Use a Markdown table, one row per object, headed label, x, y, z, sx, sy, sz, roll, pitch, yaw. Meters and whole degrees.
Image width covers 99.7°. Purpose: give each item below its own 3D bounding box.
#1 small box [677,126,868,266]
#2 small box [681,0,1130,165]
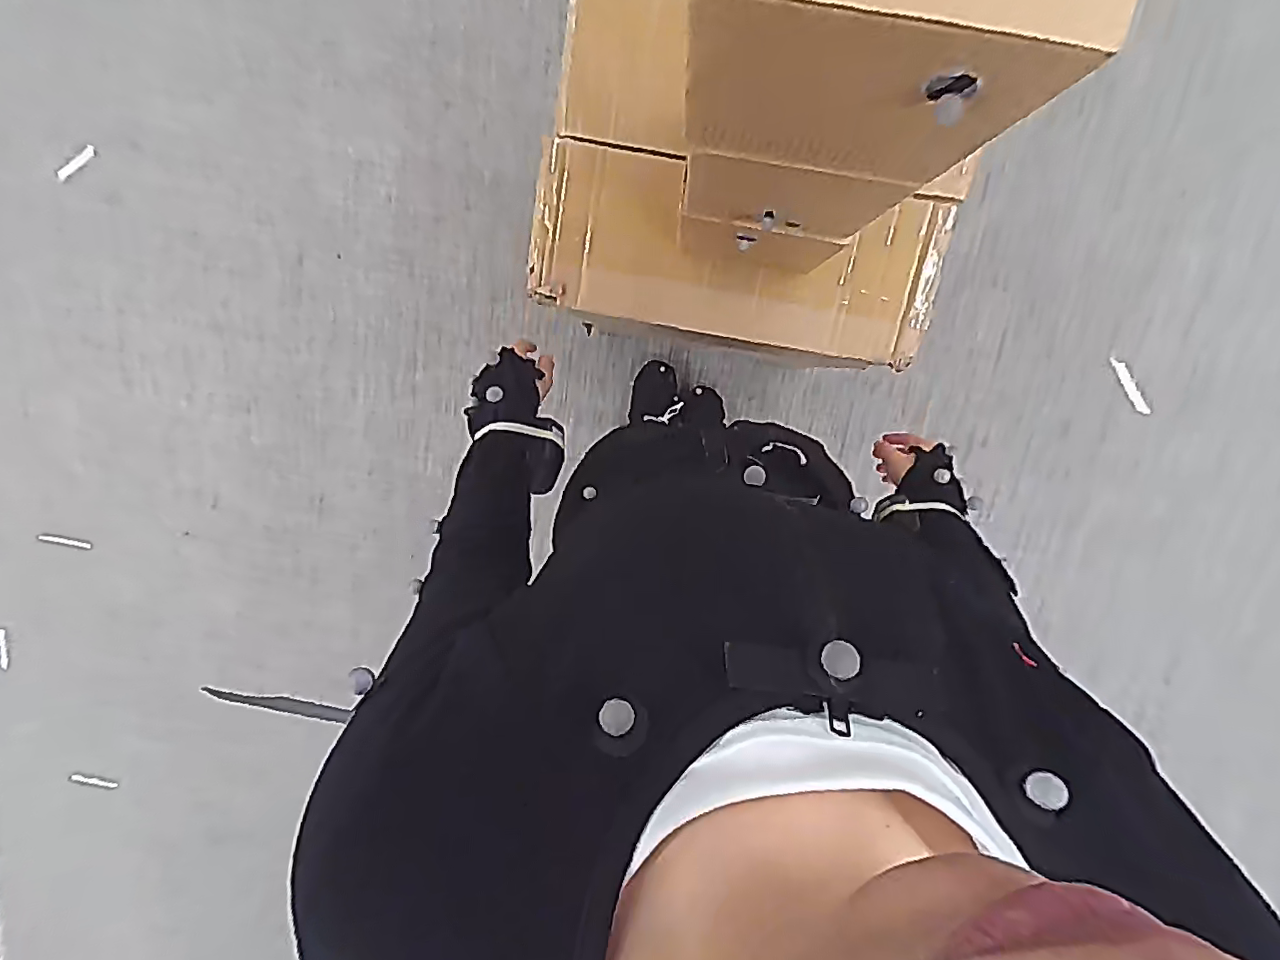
| label | x | y | z | sx | sy | sz | roll | pitch | yaw |
| --- | --- | --- | --- | --- | --- | --- | --- | --- | --- |
| small box | 0.141 | -0.346 | 0.595 | 0.179 | 0.176 | 0.168 | 11 | 103 | 1 |
| small box | 0.122 | -0.283 | 0.272 | 0.179 | 0.176 | 0.168 | 11 | 103 | 2 |
